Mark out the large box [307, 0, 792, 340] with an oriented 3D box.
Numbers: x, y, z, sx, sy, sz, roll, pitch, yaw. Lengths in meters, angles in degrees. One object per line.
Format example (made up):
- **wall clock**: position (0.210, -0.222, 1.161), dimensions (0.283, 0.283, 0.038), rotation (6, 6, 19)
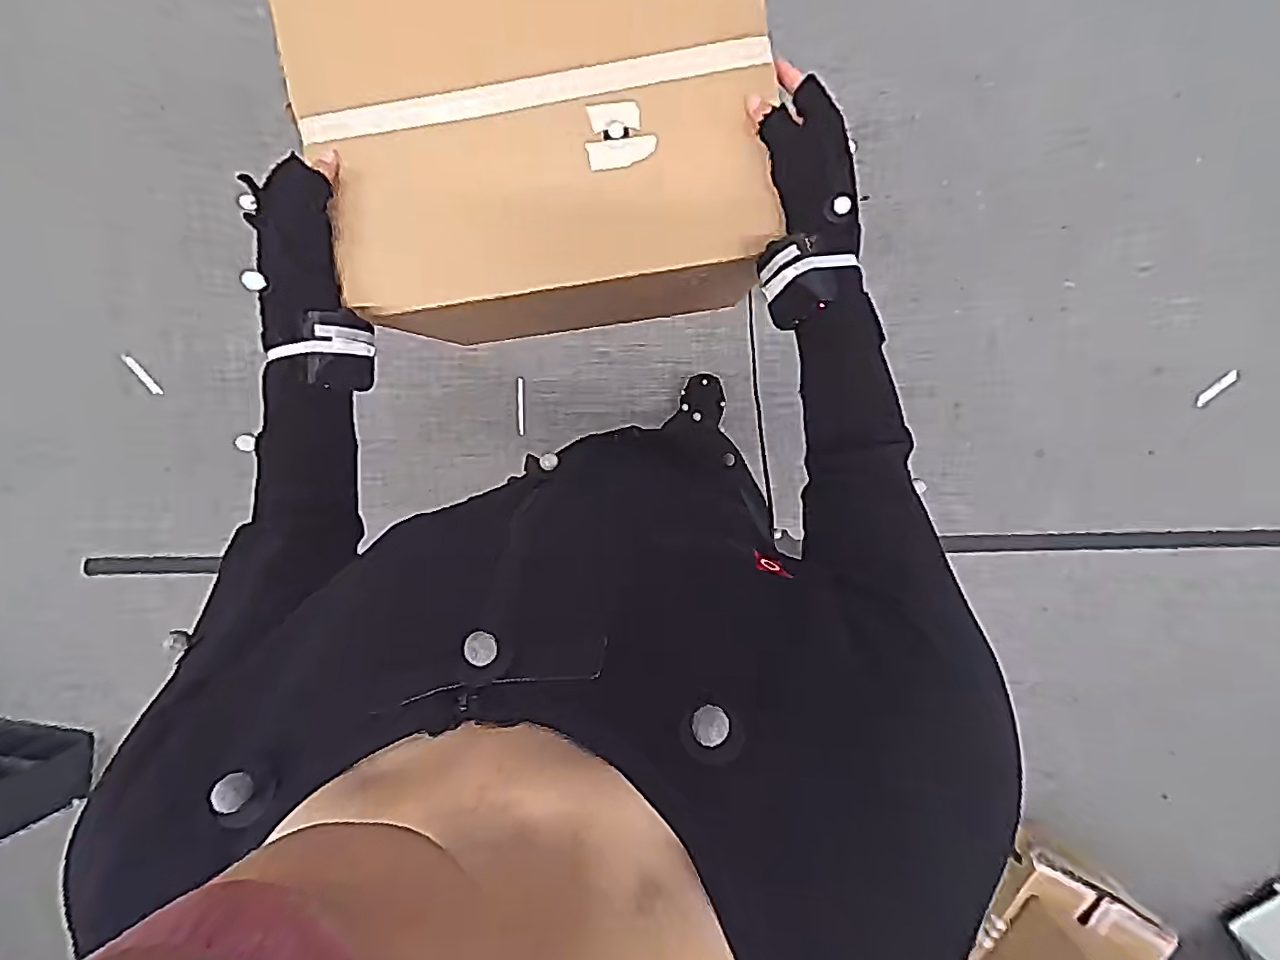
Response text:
- **large box**: position (-0.077, -0.360, 0.625), dimensions (0.408, 0.320, 0.320), rotation (-8, 100, 2)
